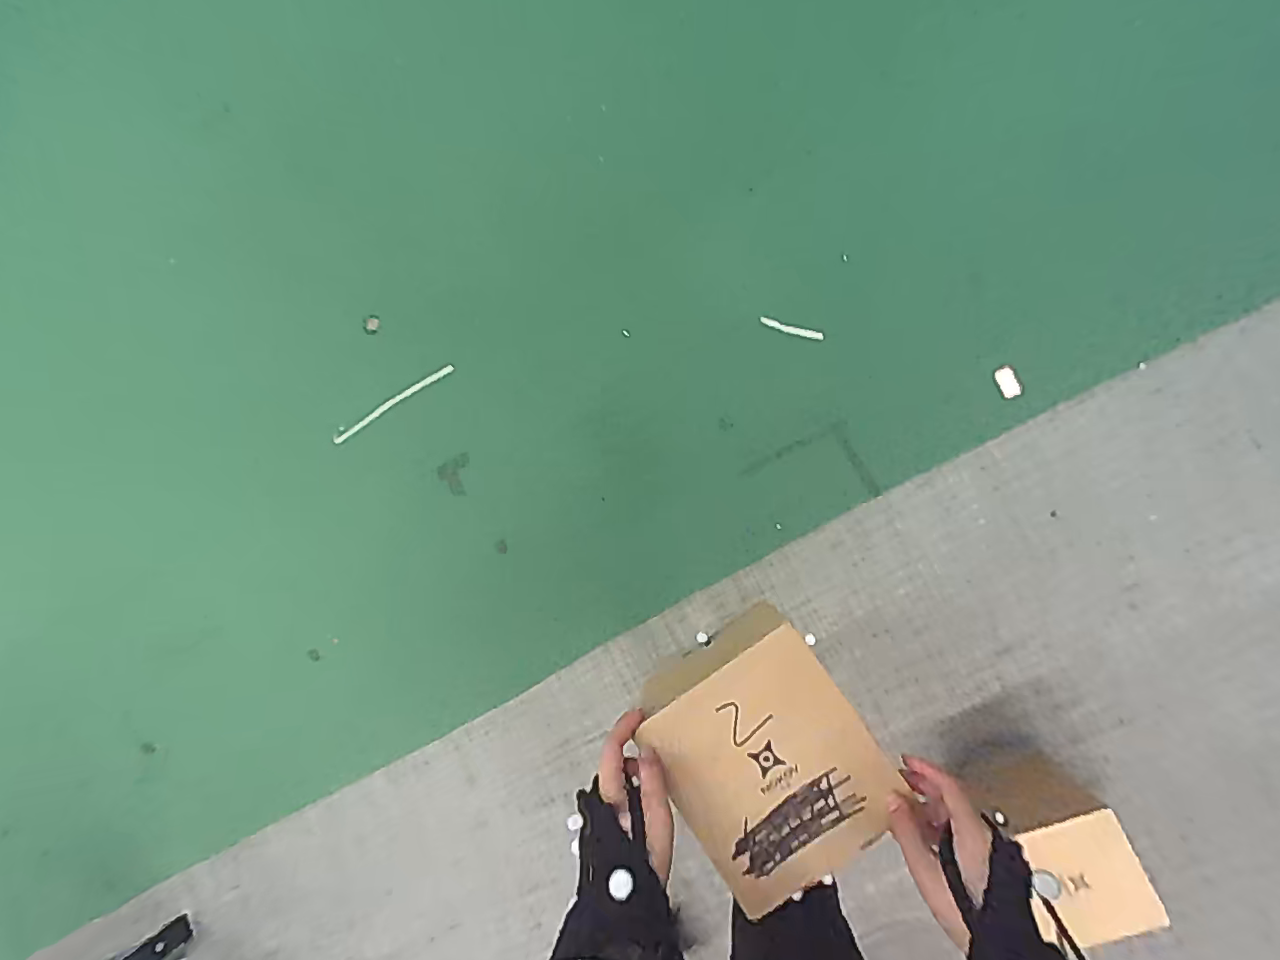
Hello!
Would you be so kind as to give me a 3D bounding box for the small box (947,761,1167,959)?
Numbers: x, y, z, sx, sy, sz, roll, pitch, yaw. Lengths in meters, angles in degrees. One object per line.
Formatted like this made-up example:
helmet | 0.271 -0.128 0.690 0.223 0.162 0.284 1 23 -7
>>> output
small box | 0.614 0.564 0.824 0.179 0.176 0.168 -26 83 10
